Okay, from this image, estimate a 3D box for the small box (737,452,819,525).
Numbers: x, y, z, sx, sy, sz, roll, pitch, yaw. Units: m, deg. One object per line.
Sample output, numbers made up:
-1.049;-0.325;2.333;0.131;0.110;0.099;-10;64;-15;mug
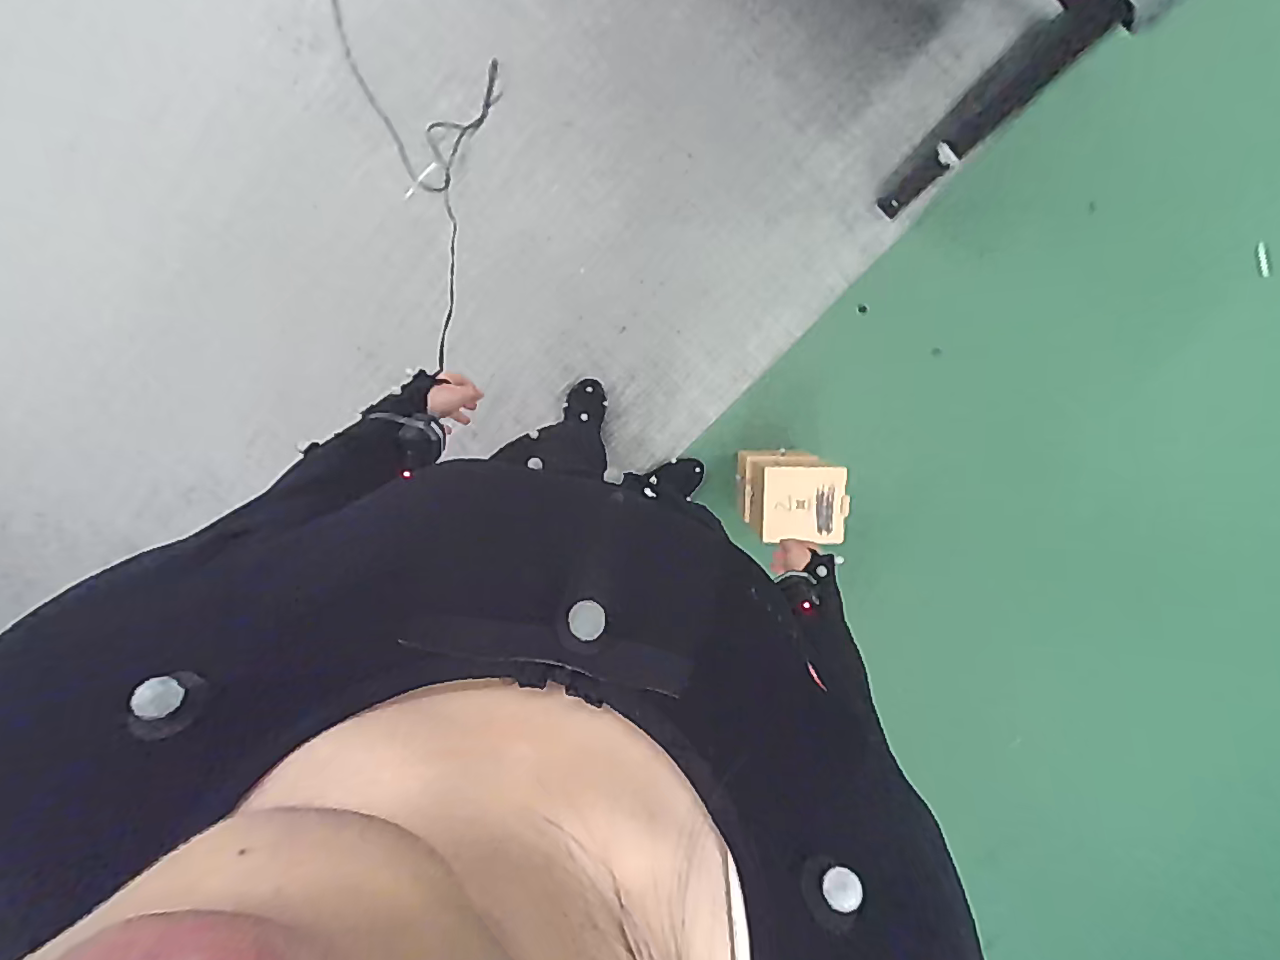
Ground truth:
0.345;0.018;1.382;0.179;0.176;0.168;0;97;3;small box
